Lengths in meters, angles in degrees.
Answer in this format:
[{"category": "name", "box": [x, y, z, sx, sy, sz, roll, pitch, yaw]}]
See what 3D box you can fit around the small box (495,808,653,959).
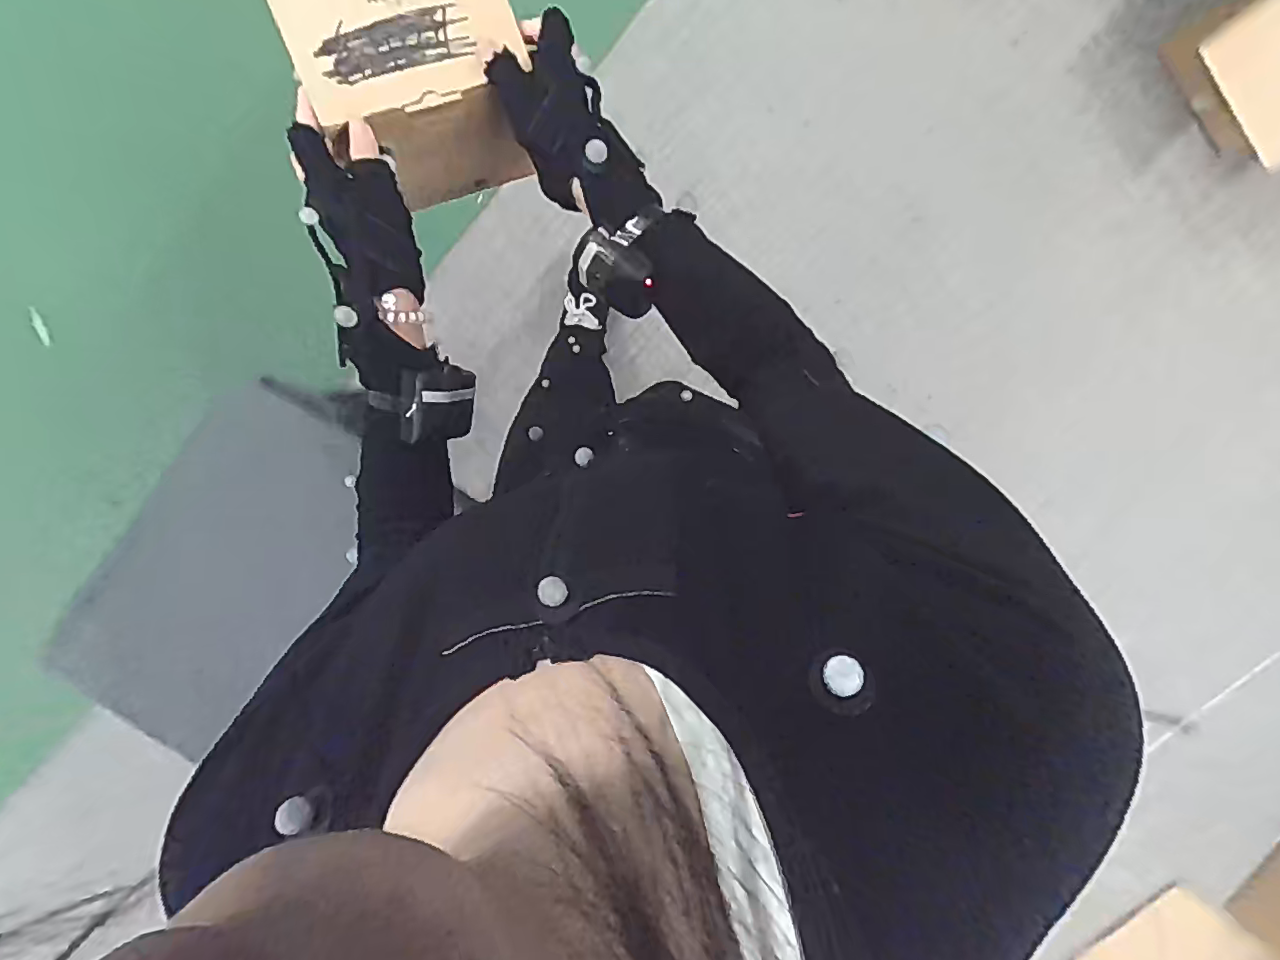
[{"category": "small box", "box": [-0.092, 0.672, 0.850, 0.168, 0.176, 0.179, 41, 101, -8]}]
